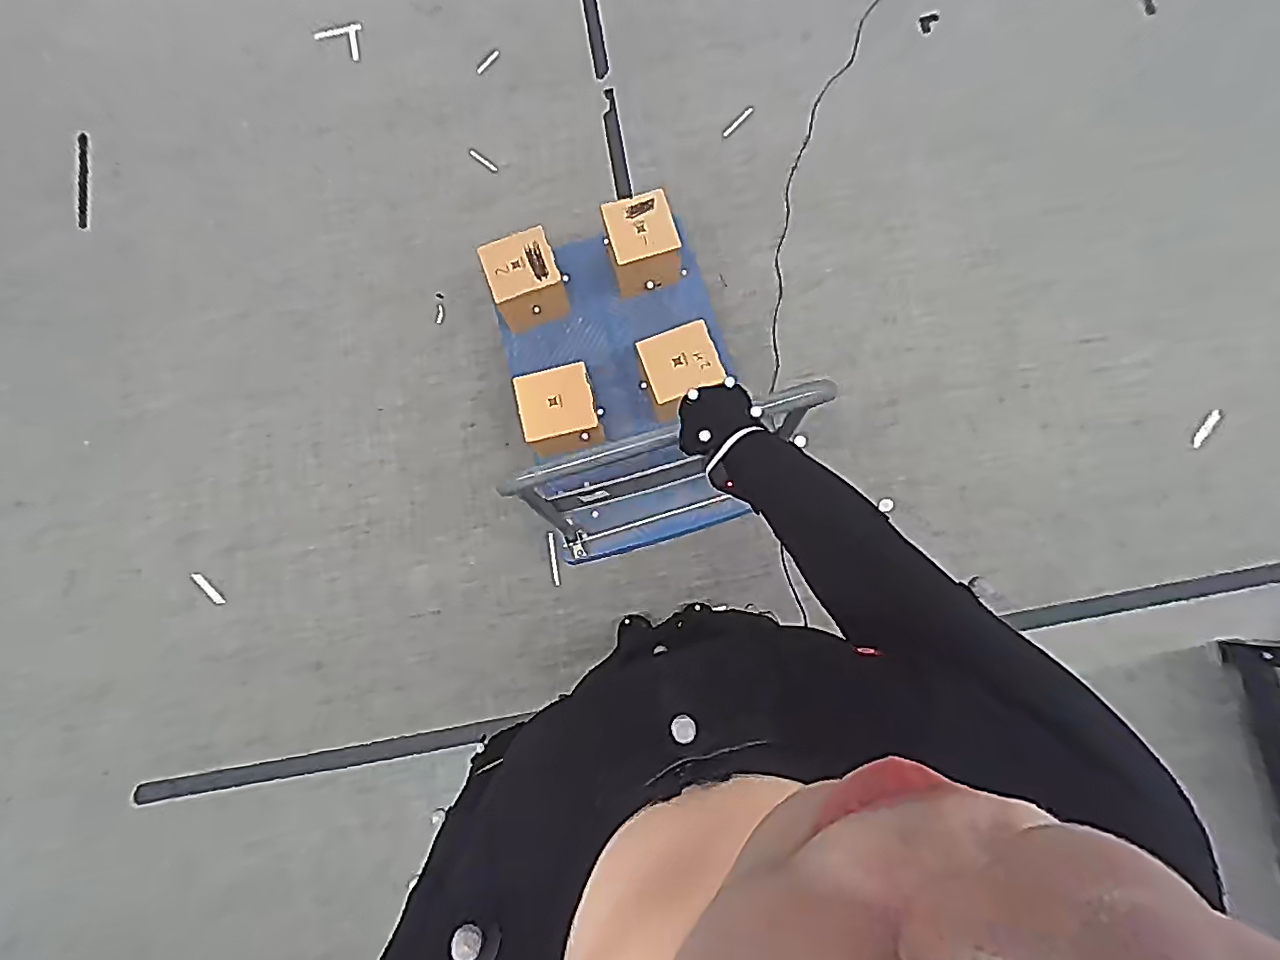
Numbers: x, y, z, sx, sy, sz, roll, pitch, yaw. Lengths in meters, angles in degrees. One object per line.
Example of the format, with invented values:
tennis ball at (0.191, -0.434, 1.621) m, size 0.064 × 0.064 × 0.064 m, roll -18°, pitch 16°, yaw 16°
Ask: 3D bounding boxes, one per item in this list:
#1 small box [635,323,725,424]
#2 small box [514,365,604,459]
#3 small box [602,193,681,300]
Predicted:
small box at (0.099, -0.257, 1.350) m, size 0.179 × 0.176 × 0.168 m, roll -19°, pitch 79°, yaw -1°
small box at (-0.196, -0.162, 1.347) m, size 0.179 × 0.176 × 0.168 m, roll -14°, pitch 78°, yaw -1°
small box at (0.004, -0.609, 1.424) m, size 0.168 × 0.176 × 0.179 m, roll -16°, pitch 80°, yaw 0°
